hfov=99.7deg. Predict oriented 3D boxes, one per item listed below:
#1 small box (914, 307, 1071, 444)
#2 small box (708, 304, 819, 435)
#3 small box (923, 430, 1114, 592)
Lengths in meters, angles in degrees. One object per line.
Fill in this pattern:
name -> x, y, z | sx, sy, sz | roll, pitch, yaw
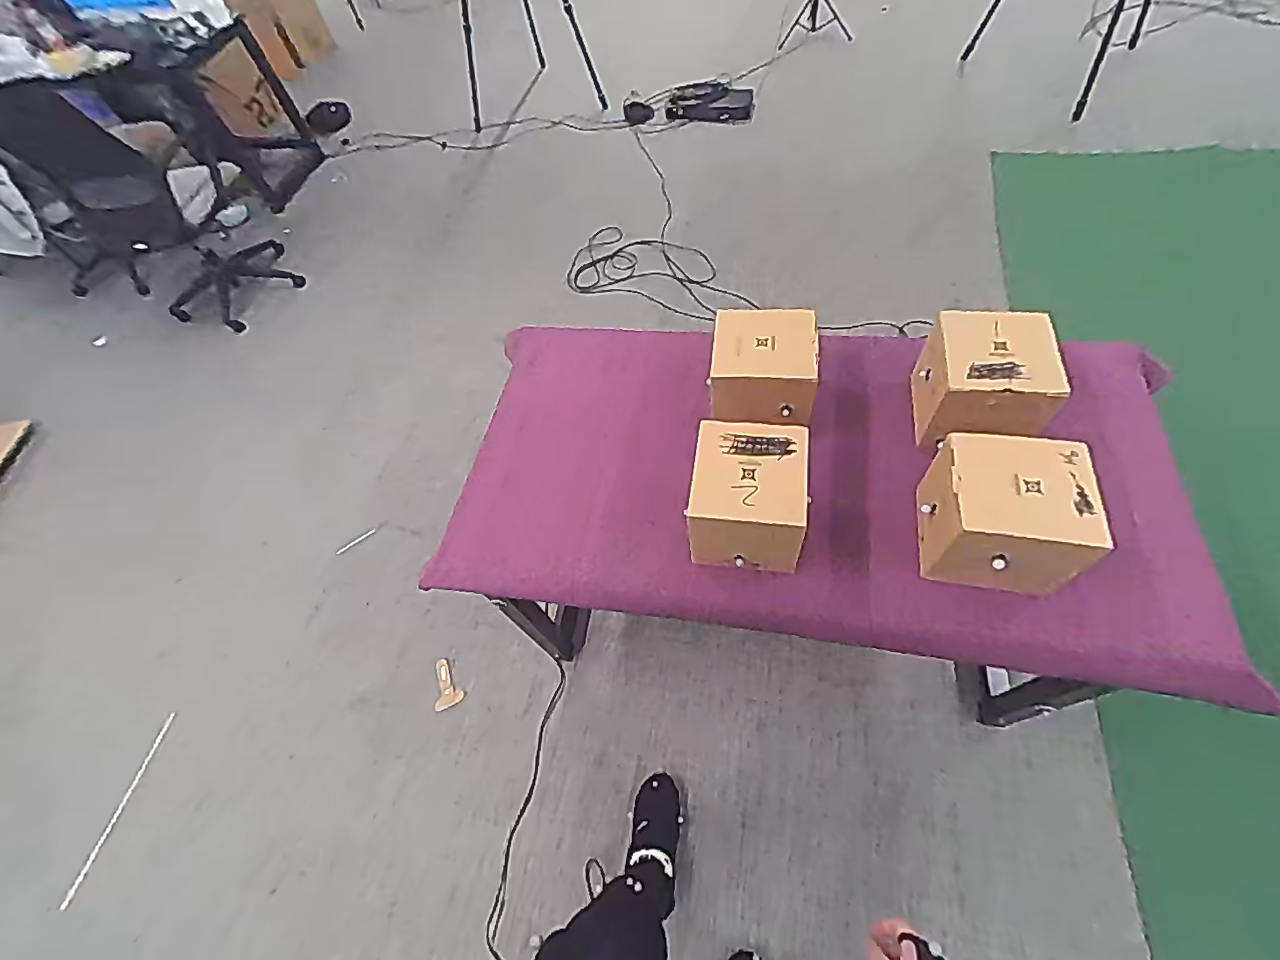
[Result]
small box -> 0.571, -0.164, 0.903 | 0.168, 0.176, 0.179 | 6, 59, 12
small box -> 0.221, -0.195, 0.979 | 0.179, 0.176, 0.168 | 4, 59, 12
small box -> 0.520, 0.048, 0.779 | 0.179, 0.176, 0.168 | 7, 59, 14
